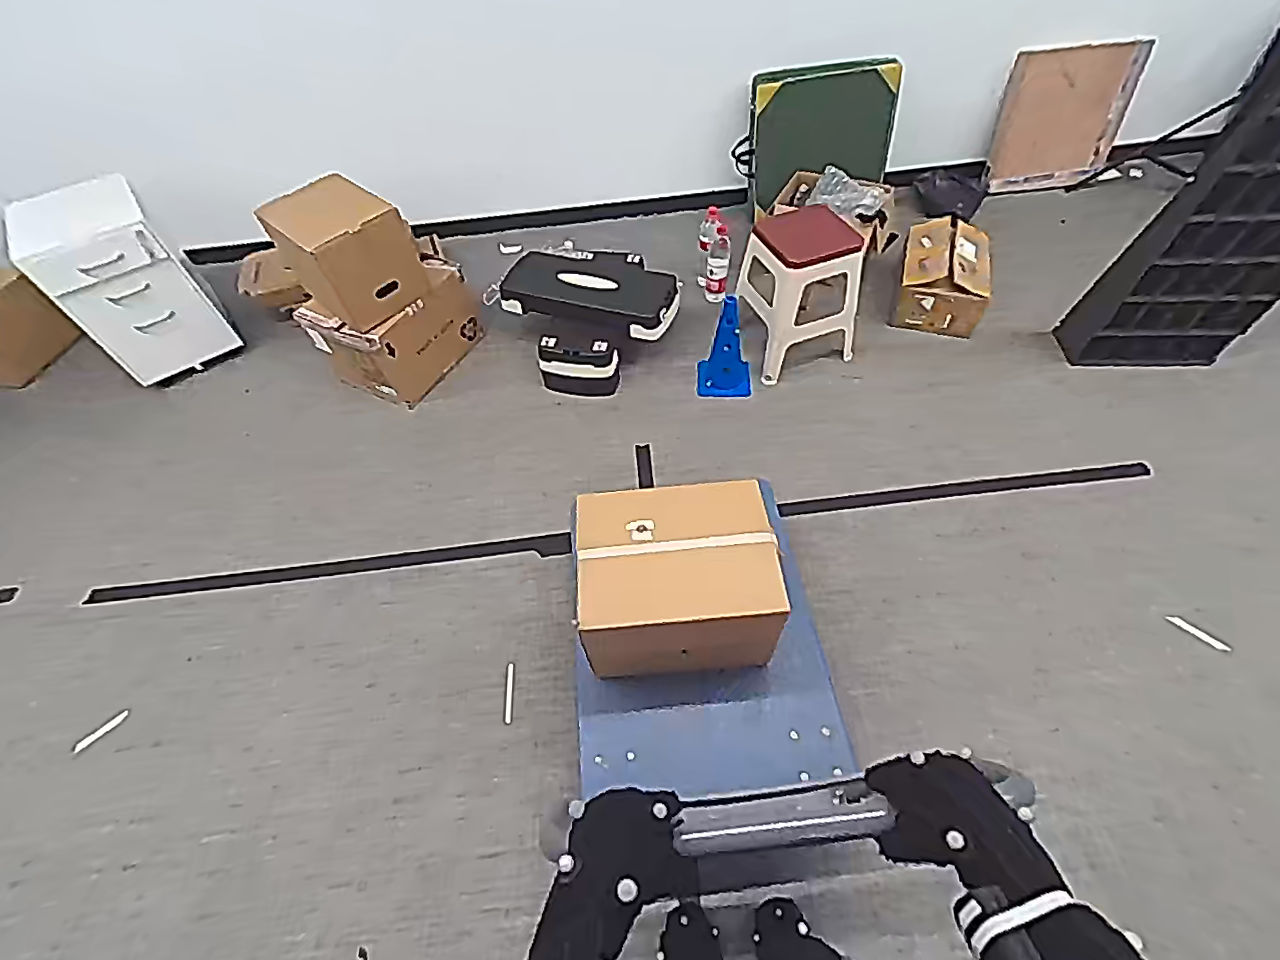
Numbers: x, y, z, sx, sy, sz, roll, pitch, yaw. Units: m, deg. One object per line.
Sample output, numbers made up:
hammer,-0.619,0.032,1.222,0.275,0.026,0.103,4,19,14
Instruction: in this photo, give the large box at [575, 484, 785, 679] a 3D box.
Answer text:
large box,0.079,0.239,1.231,0.408,0.320,0.320,-6,53,1
